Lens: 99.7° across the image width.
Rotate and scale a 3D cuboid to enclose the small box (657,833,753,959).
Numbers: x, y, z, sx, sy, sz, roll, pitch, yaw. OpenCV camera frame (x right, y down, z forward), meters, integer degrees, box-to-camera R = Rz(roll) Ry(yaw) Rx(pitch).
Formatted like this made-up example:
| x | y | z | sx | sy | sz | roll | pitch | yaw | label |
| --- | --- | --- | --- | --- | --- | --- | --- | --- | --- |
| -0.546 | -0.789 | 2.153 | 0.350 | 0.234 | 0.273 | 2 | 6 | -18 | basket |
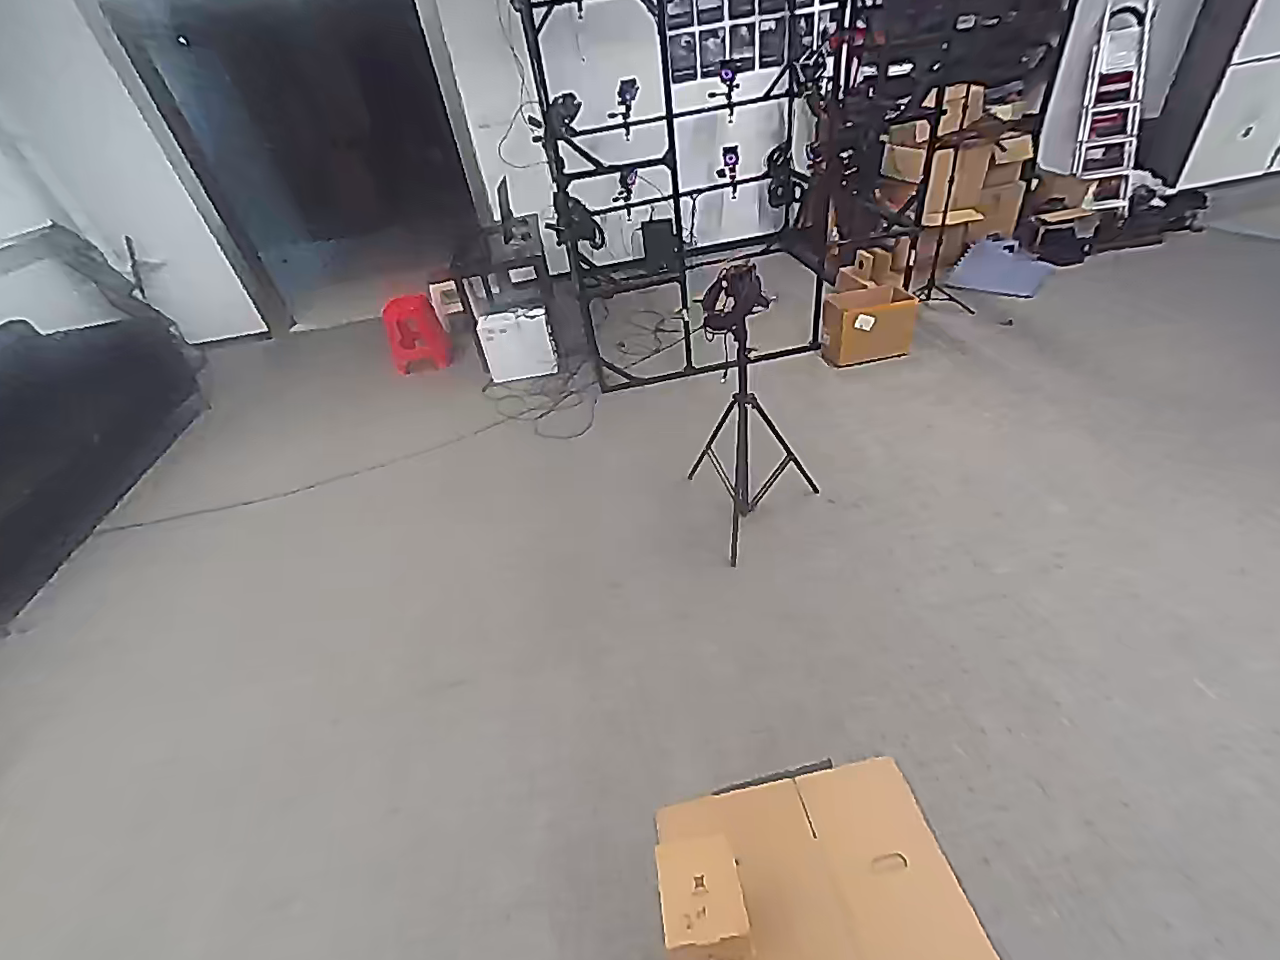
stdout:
| x | y | z | sx | sy | sz | roll | pitch | yaw | label |
| --- | --- | --- | --- | --- | --- | --- | --- | --- | --- |
| 0.134 | 0.878 | 1.130 | 0.168 | 0.176 | 0.179 | -10 | 38 | 1 | small box |
